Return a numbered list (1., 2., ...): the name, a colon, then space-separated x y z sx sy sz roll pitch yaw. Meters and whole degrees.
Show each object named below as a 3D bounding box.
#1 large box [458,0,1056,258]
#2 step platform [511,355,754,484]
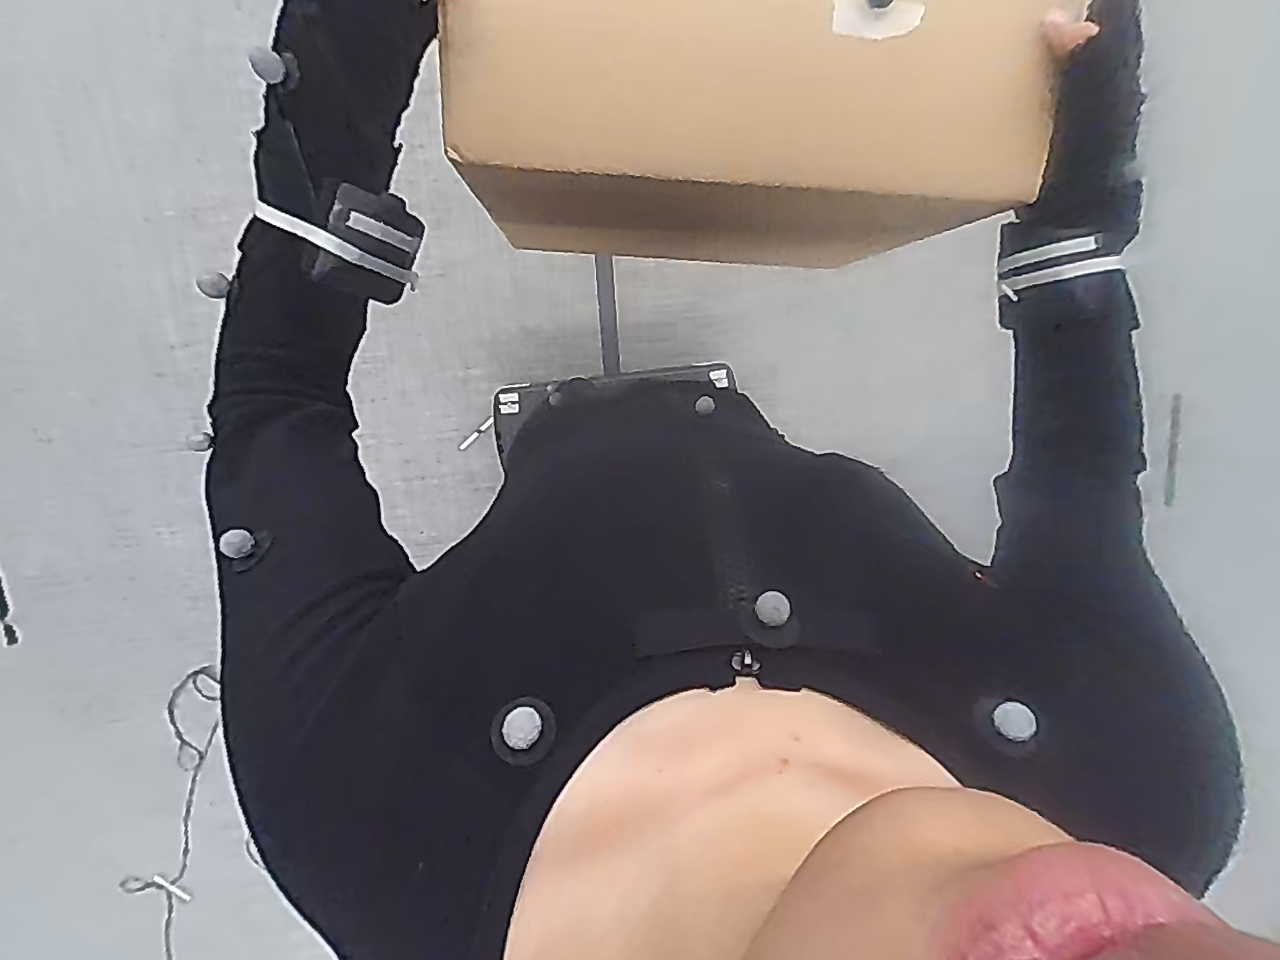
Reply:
1. large box: 0.068 -0.392 0.483 0.408 0.320 0.320 0 104 -6
2. step platform: -0.020 -0.176 1.552 0.684 0.204 0.286 -9 101 -4
